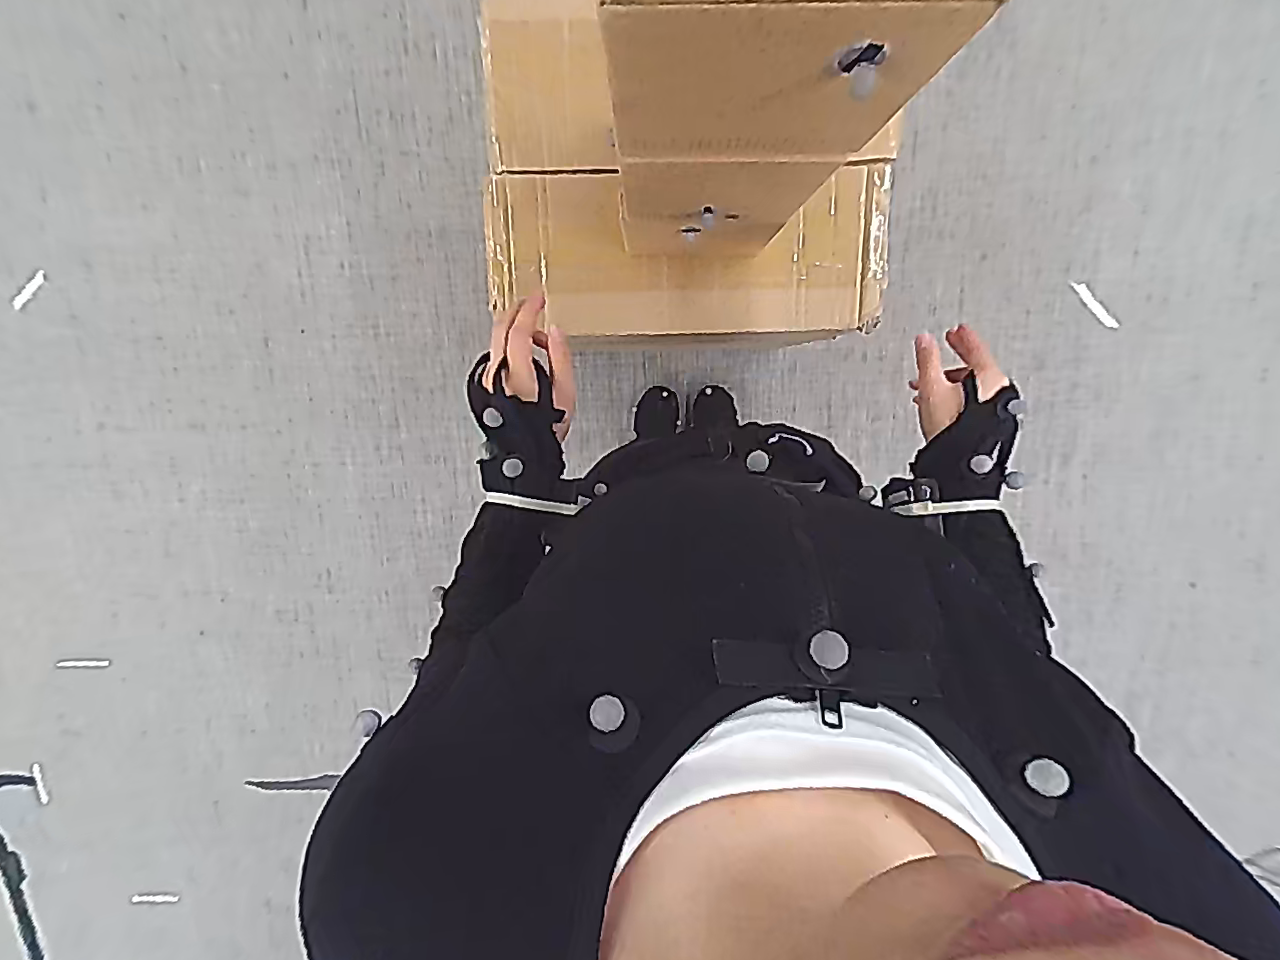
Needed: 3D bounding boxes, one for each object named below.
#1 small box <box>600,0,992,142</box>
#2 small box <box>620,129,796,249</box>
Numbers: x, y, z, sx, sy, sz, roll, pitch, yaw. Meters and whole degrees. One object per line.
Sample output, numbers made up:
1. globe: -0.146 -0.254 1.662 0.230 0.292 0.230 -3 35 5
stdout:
1. small box: 0.069 -0.302 0.286 0.179 0.176 0.168 0 101 1
2. small box: 0.070 -0.365 0.609 0.179 0.176 0.168 1 102 1
